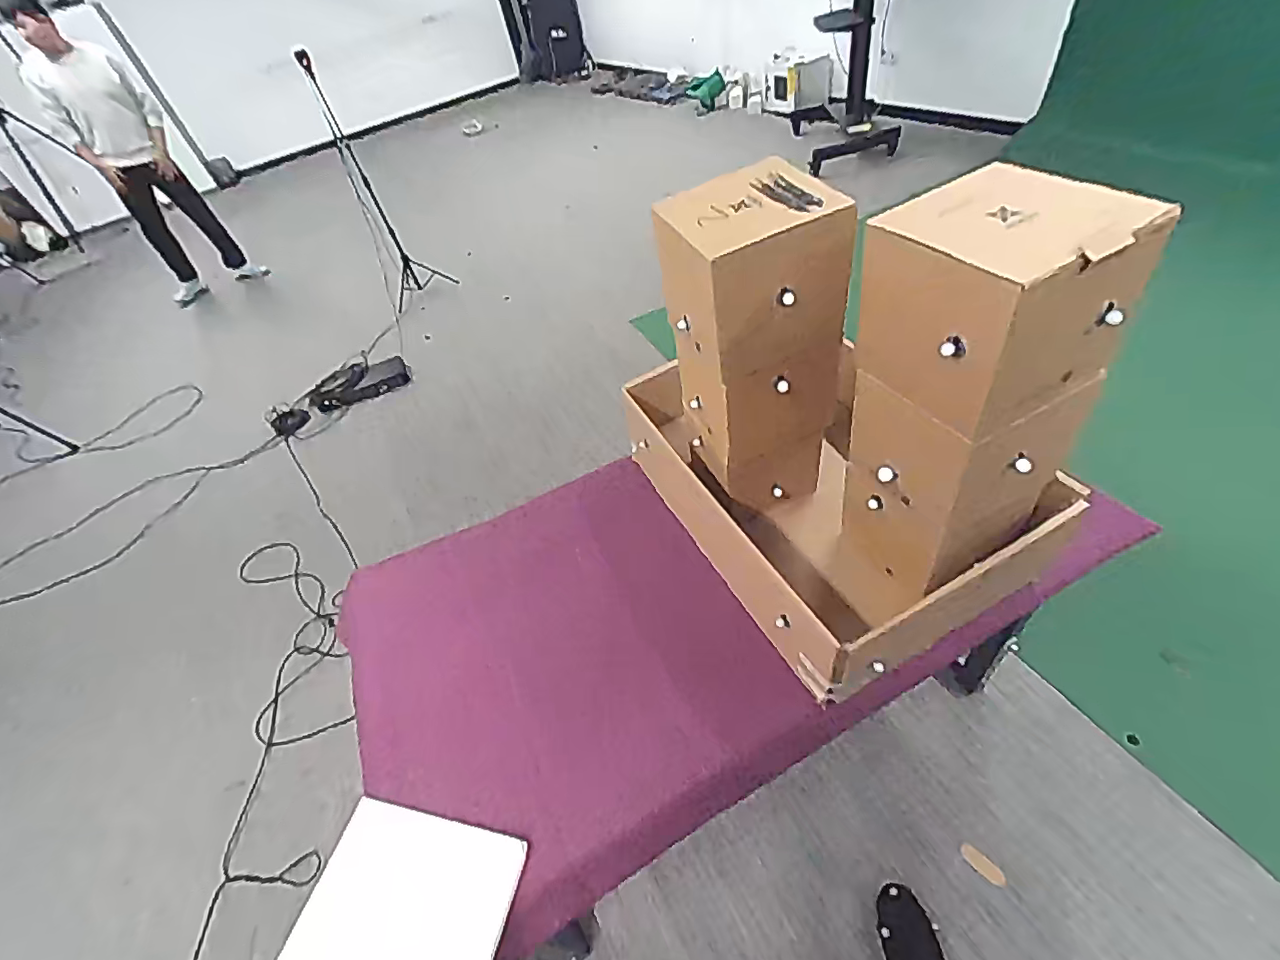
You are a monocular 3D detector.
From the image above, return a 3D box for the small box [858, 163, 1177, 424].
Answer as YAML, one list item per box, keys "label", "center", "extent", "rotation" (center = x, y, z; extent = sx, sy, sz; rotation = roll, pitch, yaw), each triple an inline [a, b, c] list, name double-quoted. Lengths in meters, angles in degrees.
- label: "small box"
  center: [0.341, -0.178, 0.534]
  extent: [0.168, 0.176, 0.179]
  rotation: [-26, 46, -8]

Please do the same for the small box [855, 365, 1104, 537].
- label: "small box"
  center: [0.380, -0.066, 0.647]
  extent: [0.179, 0.176, 0.168]
  rotation: [-27, 46, -8]

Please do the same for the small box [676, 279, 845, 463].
- label: "small box"
  center: [0.170, -0.157, 0.794]
  extent: [0.179, 0.176, 0.168]
  rotation: [-23, 49, -6]
